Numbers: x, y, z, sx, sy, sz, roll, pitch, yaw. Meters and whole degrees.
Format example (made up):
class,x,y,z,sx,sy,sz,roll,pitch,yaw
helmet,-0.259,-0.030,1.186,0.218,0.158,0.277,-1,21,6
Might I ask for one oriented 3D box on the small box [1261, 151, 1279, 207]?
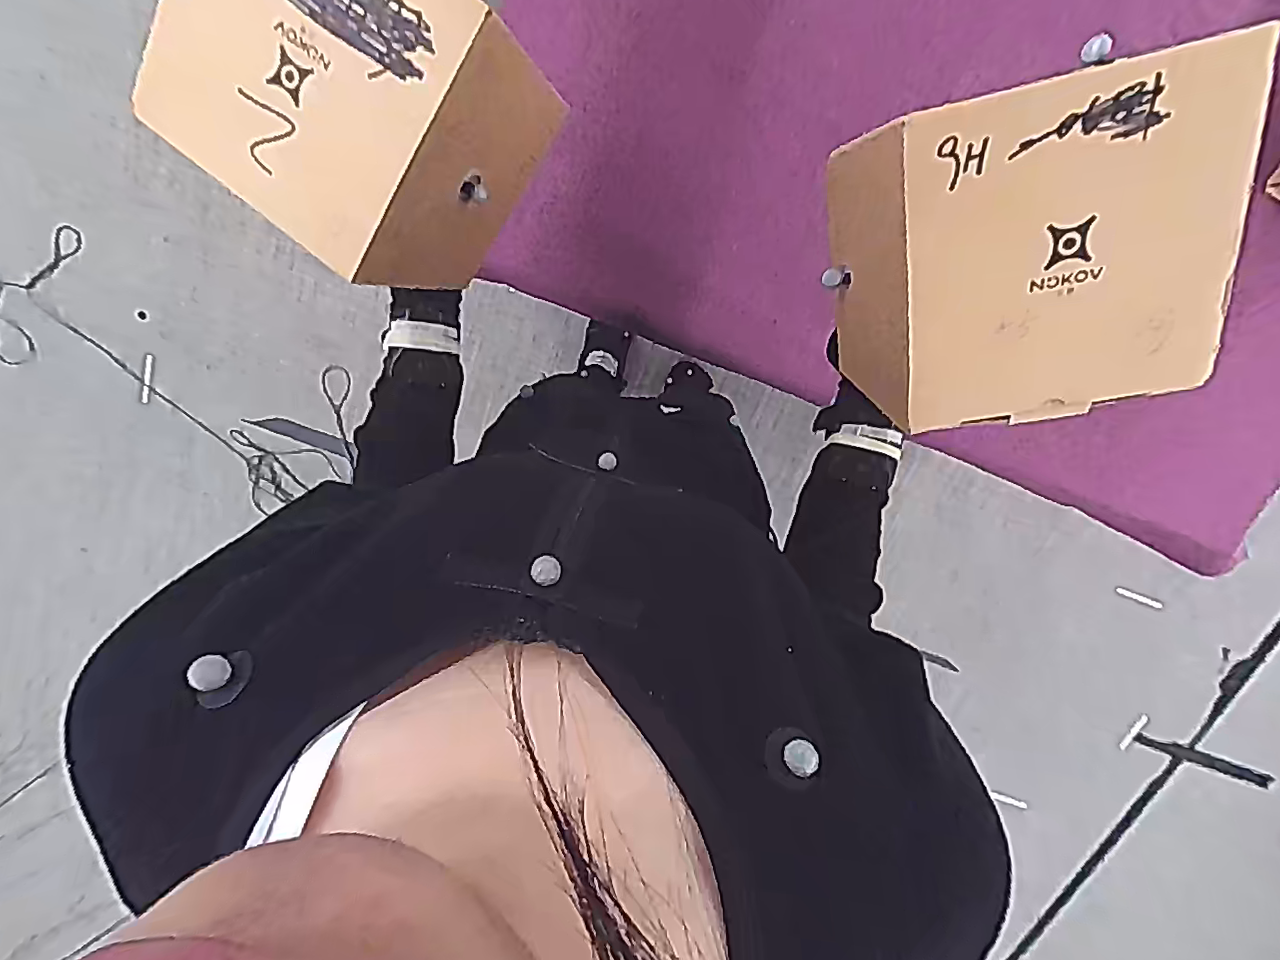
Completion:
class,x,y,z,sx,sy,sz,roll,pitch,yaw
small box,0.835,-0.360,0.552,0.168,0.176,0.179,24,110,-6

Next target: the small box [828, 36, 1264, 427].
class,x,y,z,sx,sy,sz,roll,pitch,yaw
small box,0.235,-0.156,0.371,0.168,0.176,0.179,-9,115,8
